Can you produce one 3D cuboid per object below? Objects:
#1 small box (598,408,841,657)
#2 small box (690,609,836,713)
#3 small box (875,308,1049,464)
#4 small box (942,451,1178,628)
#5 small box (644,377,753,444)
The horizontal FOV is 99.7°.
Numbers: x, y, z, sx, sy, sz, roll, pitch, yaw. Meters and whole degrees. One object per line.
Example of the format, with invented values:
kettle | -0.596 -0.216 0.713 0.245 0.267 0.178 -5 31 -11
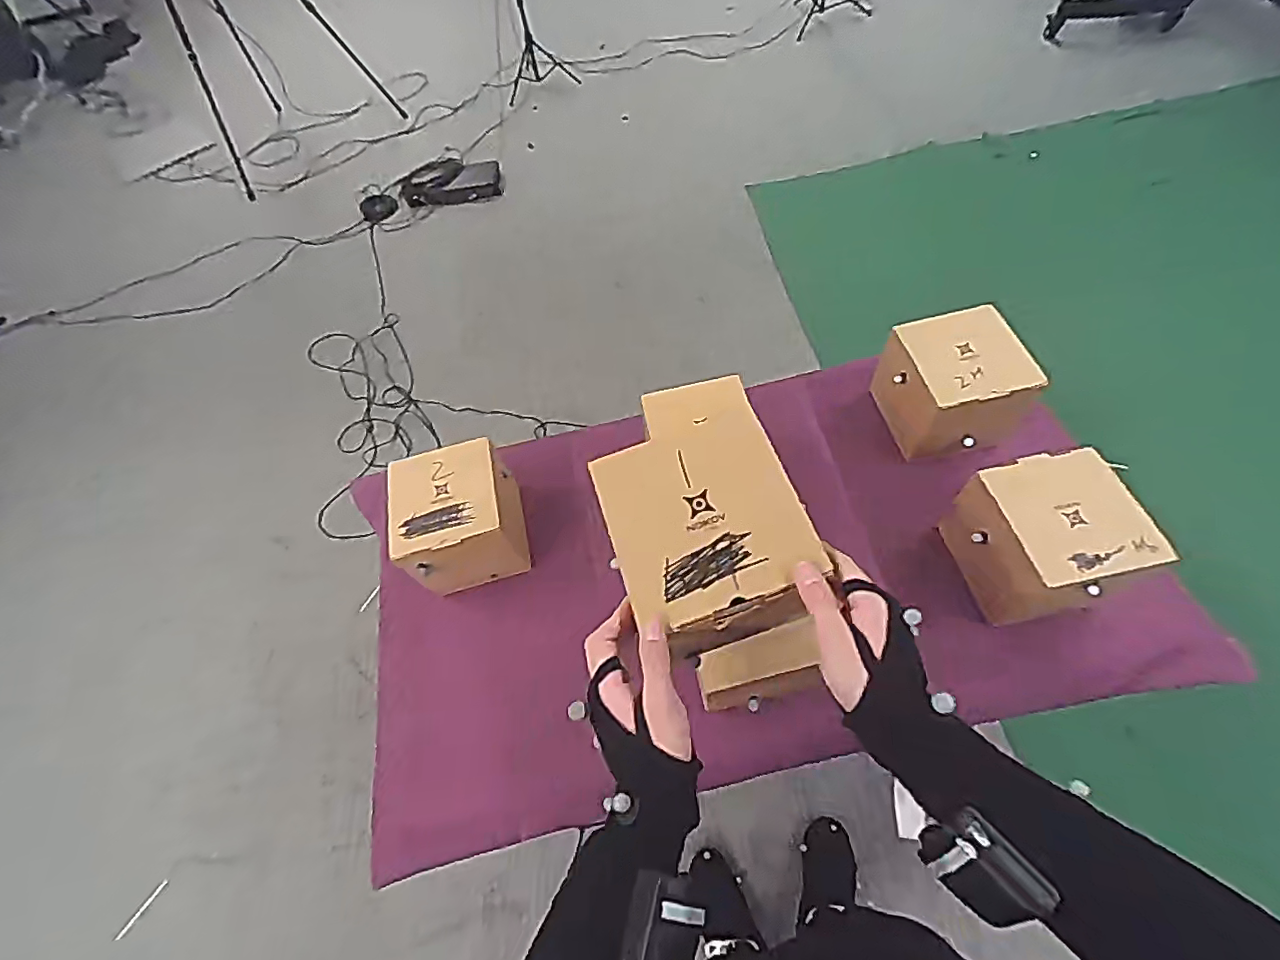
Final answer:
small box | 0.073 0.064 0.534 0.168 0.176 0.179 -19 63 0
small box | 0.146 0.205 0.750 0.168 0.176 0.179 -14 59 0
small box | 0.519 -0.153 0.907 0.168 0.176 0.179 -12 59 2
small box | 0.566 0.089 0.764 0.168 0.176 0.179 -12 58 1
small box | 0.106 -0.039 0.897 0.168 0.176 0.179 -12 61 -1
